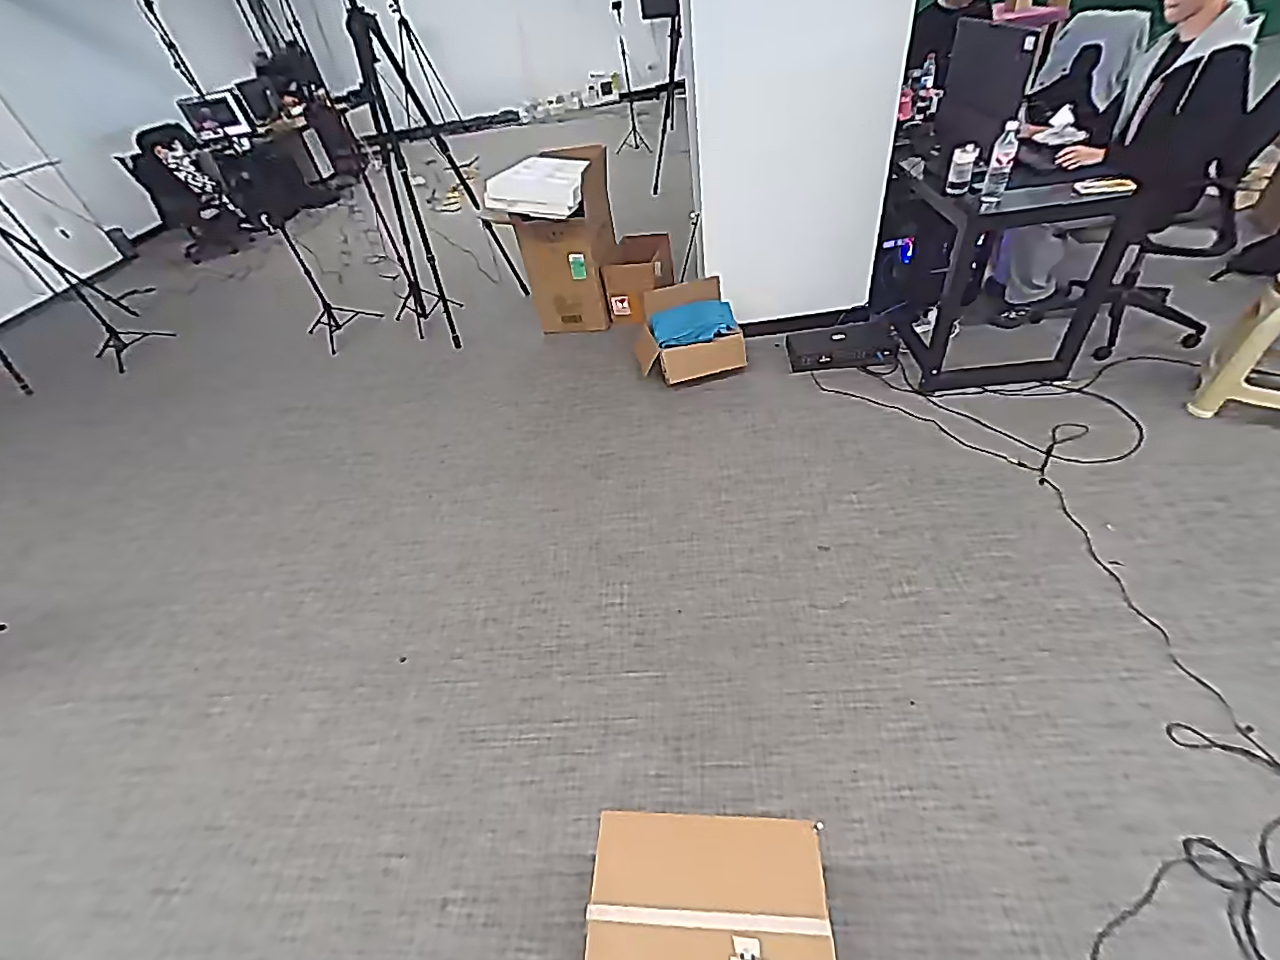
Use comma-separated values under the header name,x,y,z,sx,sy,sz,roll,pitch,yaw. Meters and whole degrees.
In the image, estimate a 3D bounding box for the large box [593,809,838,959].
name,x,y,z,sx,sy,sz,roll,pitch,yaw
large box,0.140,0.846,1.014,0.408,0.320,0.320,-2,43,8
